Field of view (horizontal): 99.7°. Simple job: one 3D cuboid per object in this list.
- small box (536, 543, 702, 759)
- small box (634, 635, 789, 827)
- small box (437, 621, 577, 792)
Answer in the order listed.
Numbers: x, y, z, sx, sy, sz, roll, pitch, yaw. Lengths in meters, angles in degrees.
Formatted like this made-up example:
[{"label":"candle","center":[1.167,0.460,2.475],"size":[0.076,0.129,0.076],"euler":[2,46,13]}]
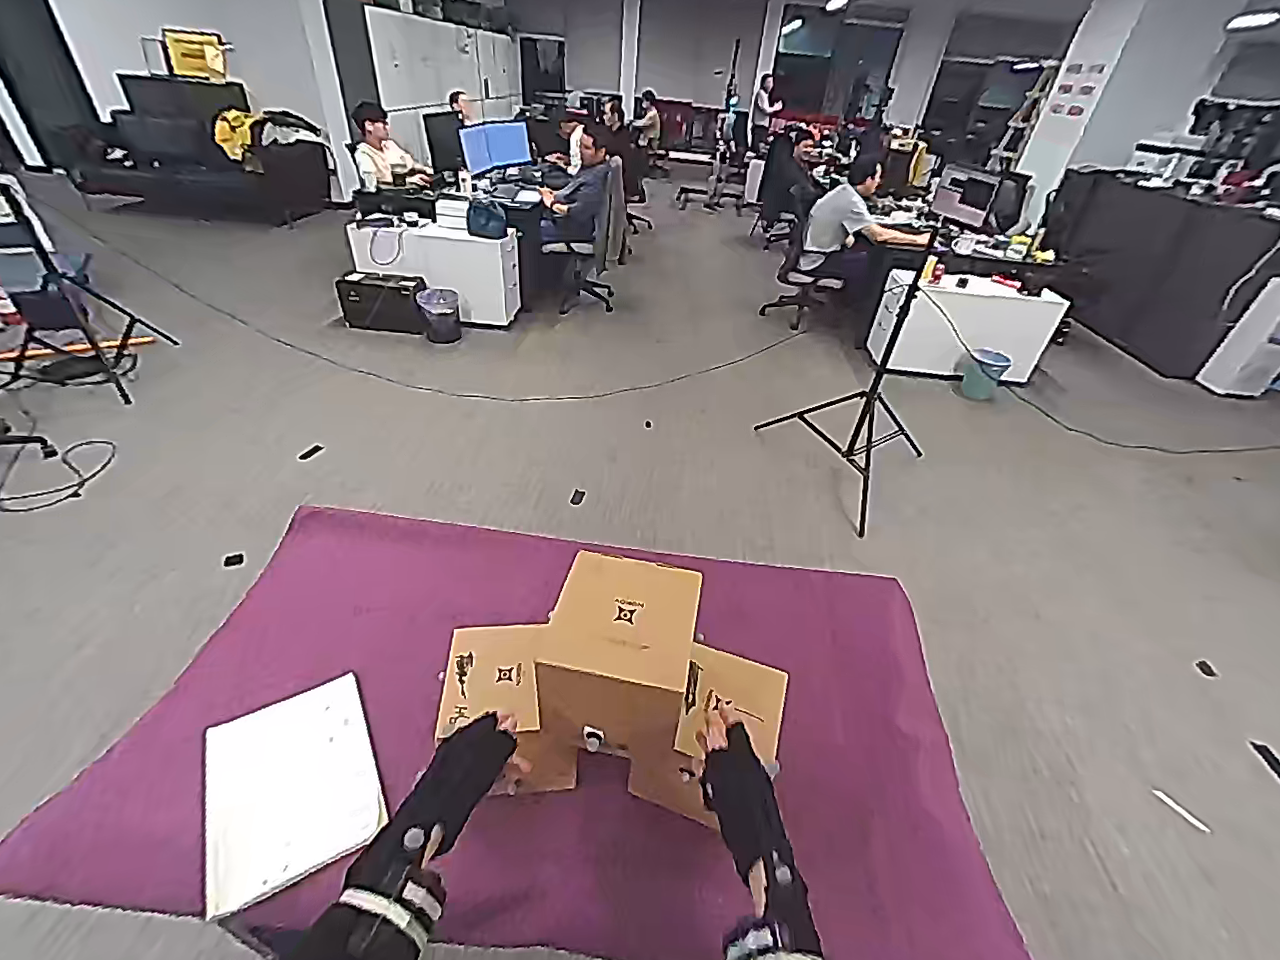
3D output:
[{"label":"small box","center":[-0.022,0.209,0.677],"size":[0.168,0.176,0.179],"euler":[9,37,7]},{"label":"small box","center":[0.098,0.353,0.769],"size":[0.179,0.176,0.168],"euler":[15,38,14]},{"label":"small box","center":[-0.179,0.323,0.779],"size":[0.179,0.176,0.168],"euler":[0,36,-9]}]
